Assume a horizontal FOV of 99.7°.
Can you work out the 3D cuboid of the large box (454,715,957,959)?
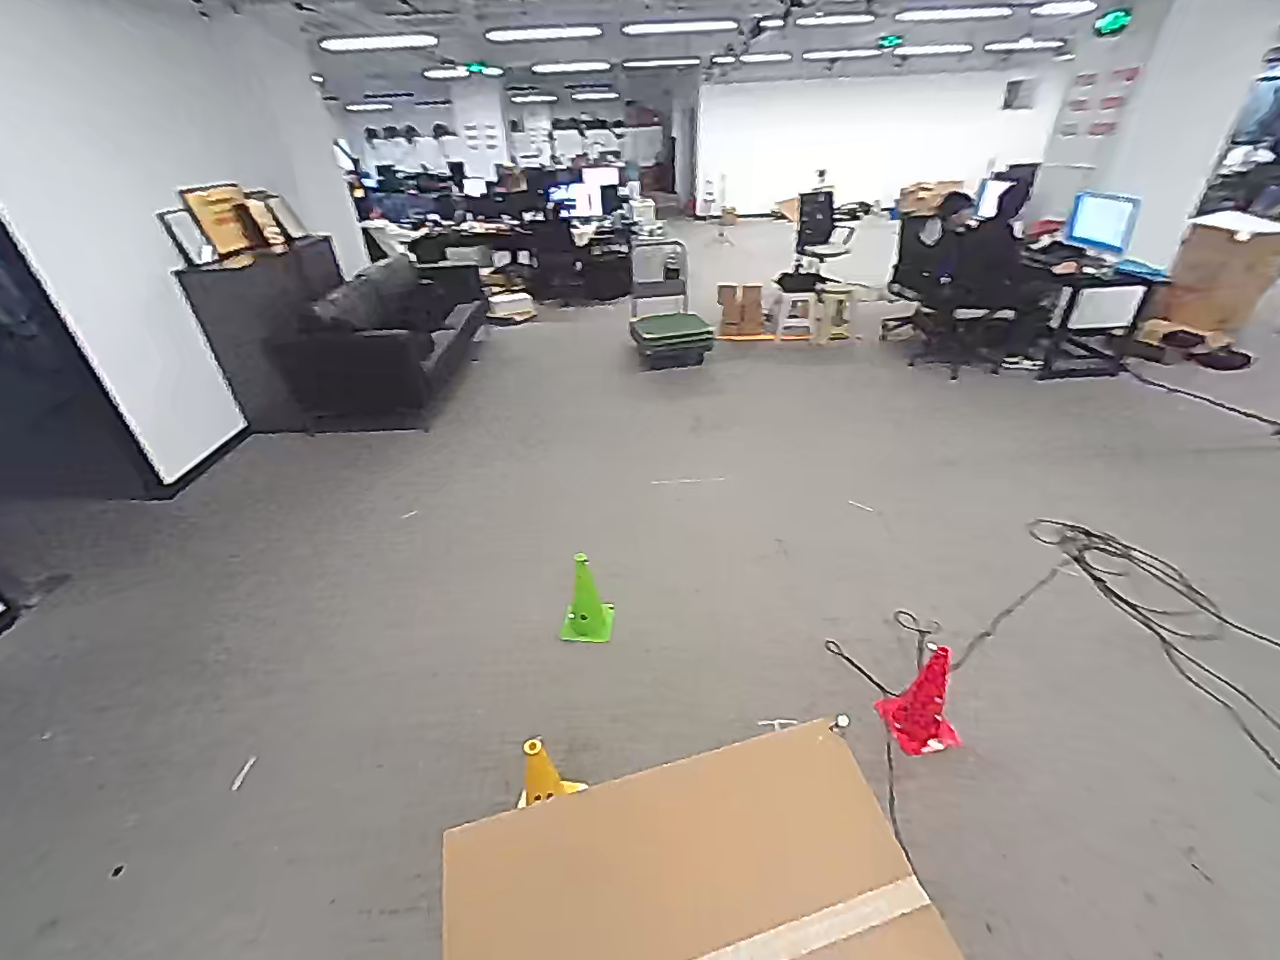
[{"bbox_3d":[0.054,0.502,0.548,0.408,0.320,0.320,-11,46,-11],"label":"large box"}]

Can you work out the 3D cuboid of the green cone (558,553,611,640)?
[{"bbox_3d":[-0.234,0.434,2.134,0.200,0.368,0.202,1,34,6],"label":"green cone"}]
